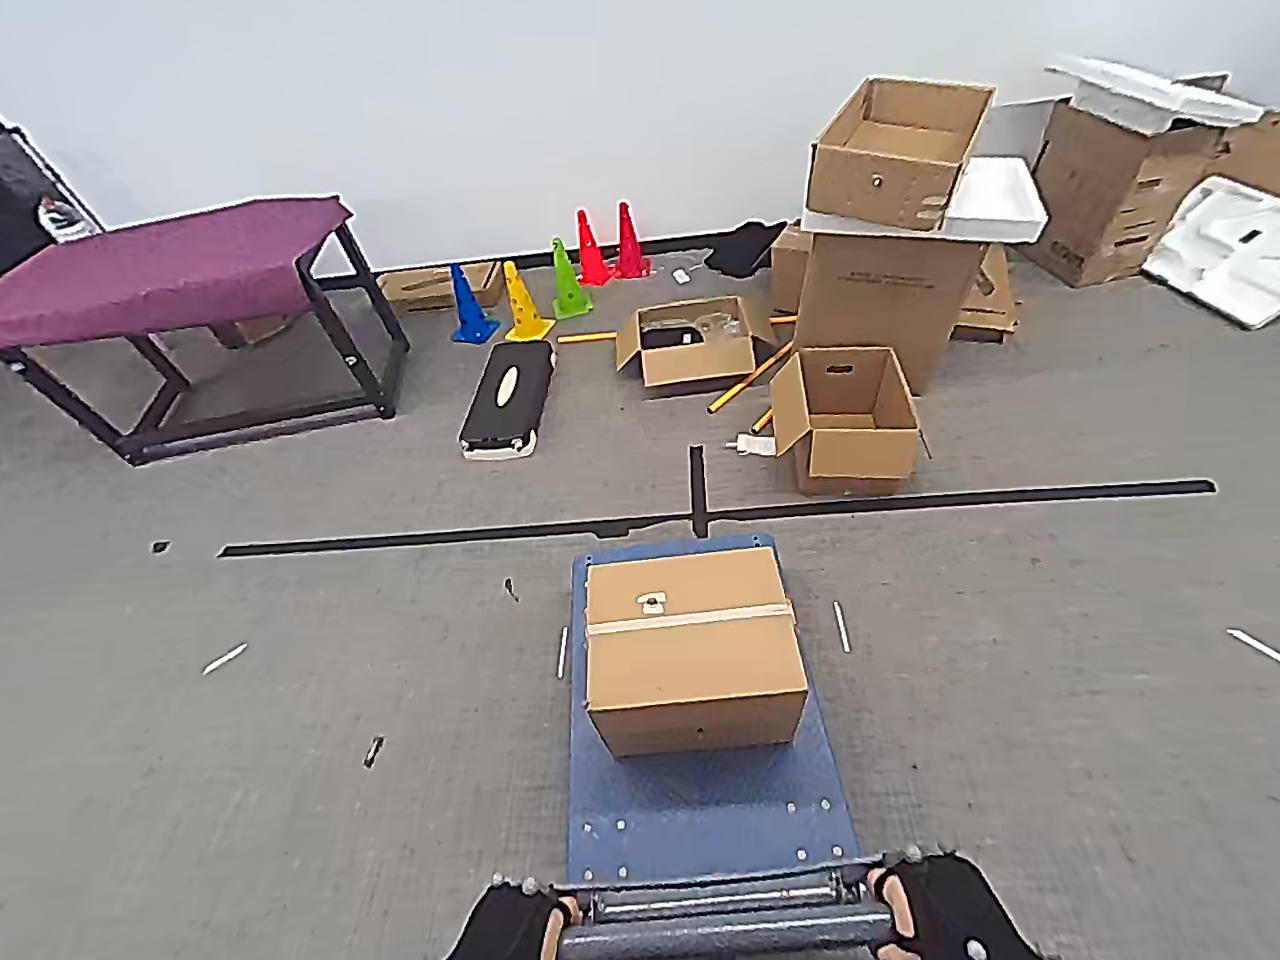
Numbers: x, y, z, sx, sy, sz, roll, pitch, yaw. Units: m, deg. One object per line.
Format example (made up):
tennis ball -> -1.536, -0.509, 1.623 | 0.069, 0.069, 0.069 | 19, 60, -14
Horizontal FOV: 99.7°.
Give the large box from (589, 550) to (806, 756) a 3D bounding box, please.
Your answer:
large box -> 0.116, 0.390, 1.198 | 0.408, 0.320, 0.320 | -8, 47, 3
